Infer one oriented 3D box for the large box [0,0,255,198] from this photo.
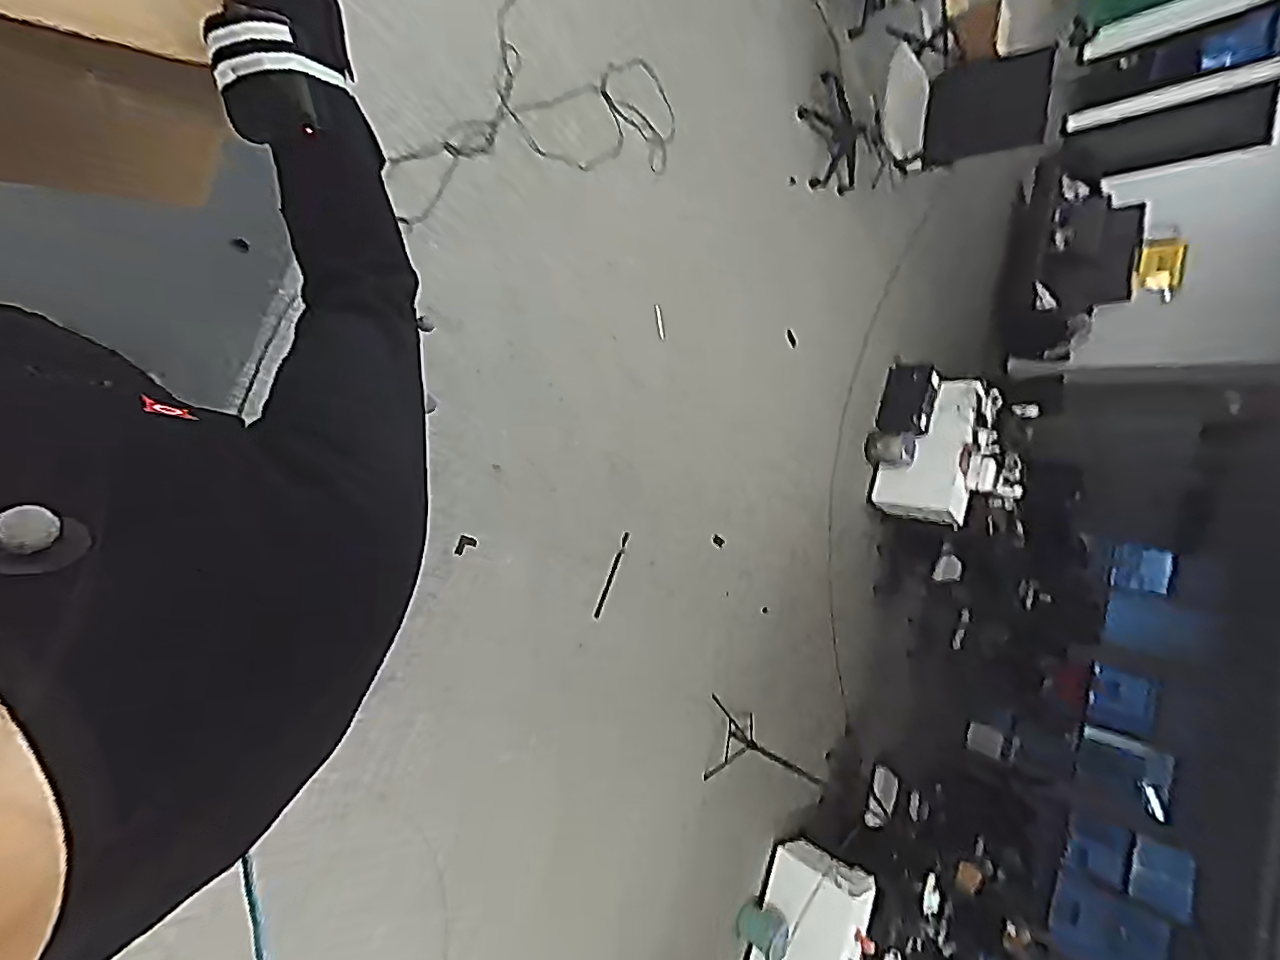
[{"bbox_3d":[-0.535,-0.410,0.335,0.408,0.320,0.320,-14,105,-42],"label":"large box"}]
